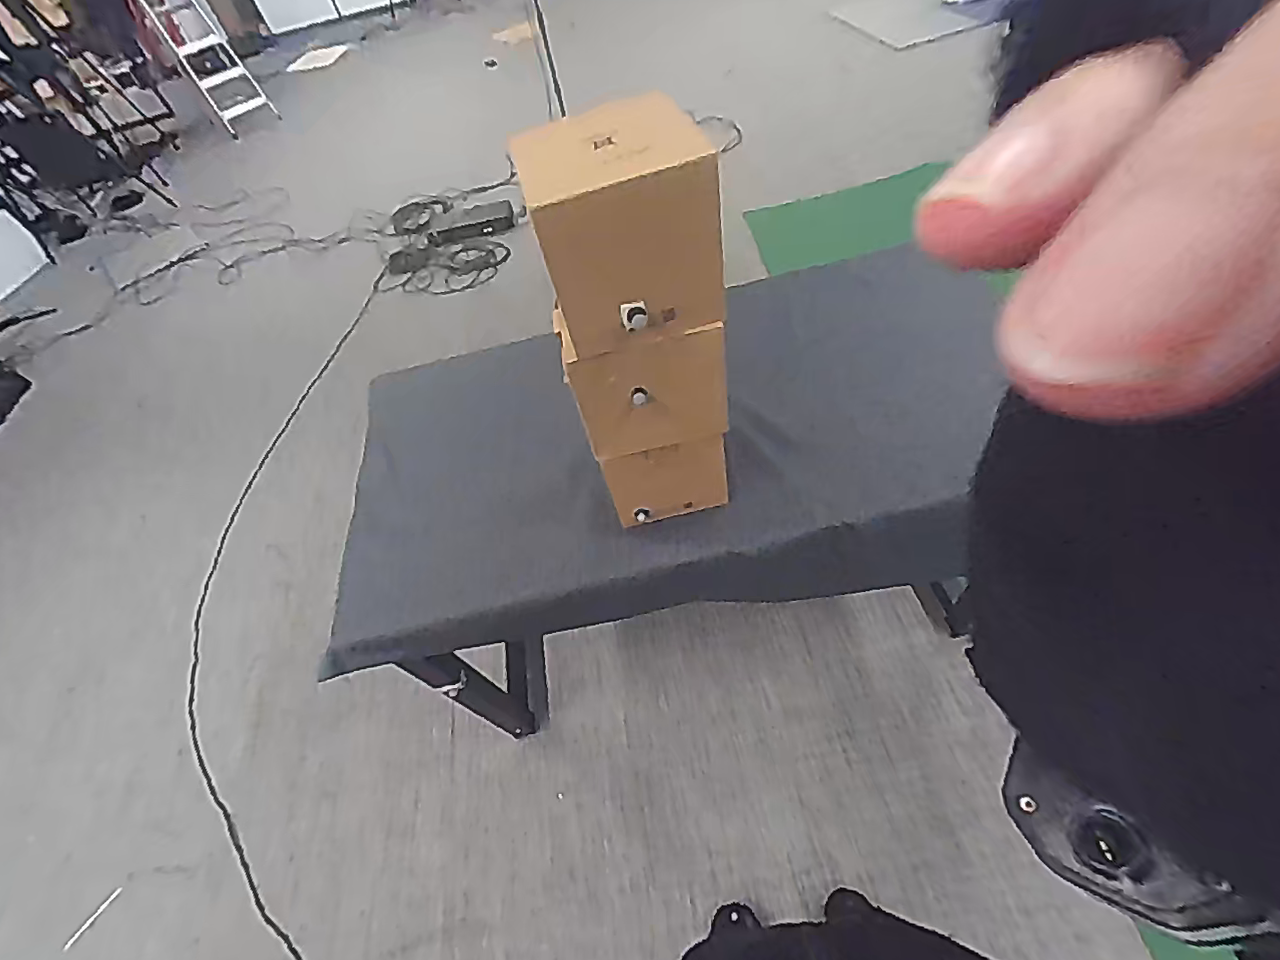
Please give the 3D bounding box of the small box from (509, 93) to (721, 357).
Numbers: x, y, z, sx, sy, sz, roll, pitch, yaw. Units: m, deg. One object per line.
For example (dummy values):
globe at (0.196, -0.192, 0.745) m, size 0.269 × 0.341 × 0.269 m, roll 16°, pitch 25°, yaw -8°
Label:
small box at (-0.022, -0.260, 0.562) m, size 0.168 × 0.176 × 0.179 m, roll -18°, pitch 53°, yaw -1°

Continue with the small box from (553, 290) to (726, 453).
small box at (0.002, -0.157, 0.689) m, size 0.179 × 0.176 × 0.168 m, roll -15°, pitch 50°, yaw 0°

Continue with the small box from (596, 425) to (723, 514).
small box at (0.025, -0.065, 0.819) m, size 0.168 × 0.176 × 0.179 m, roll -14°, pitch 51°, yaw 2°
